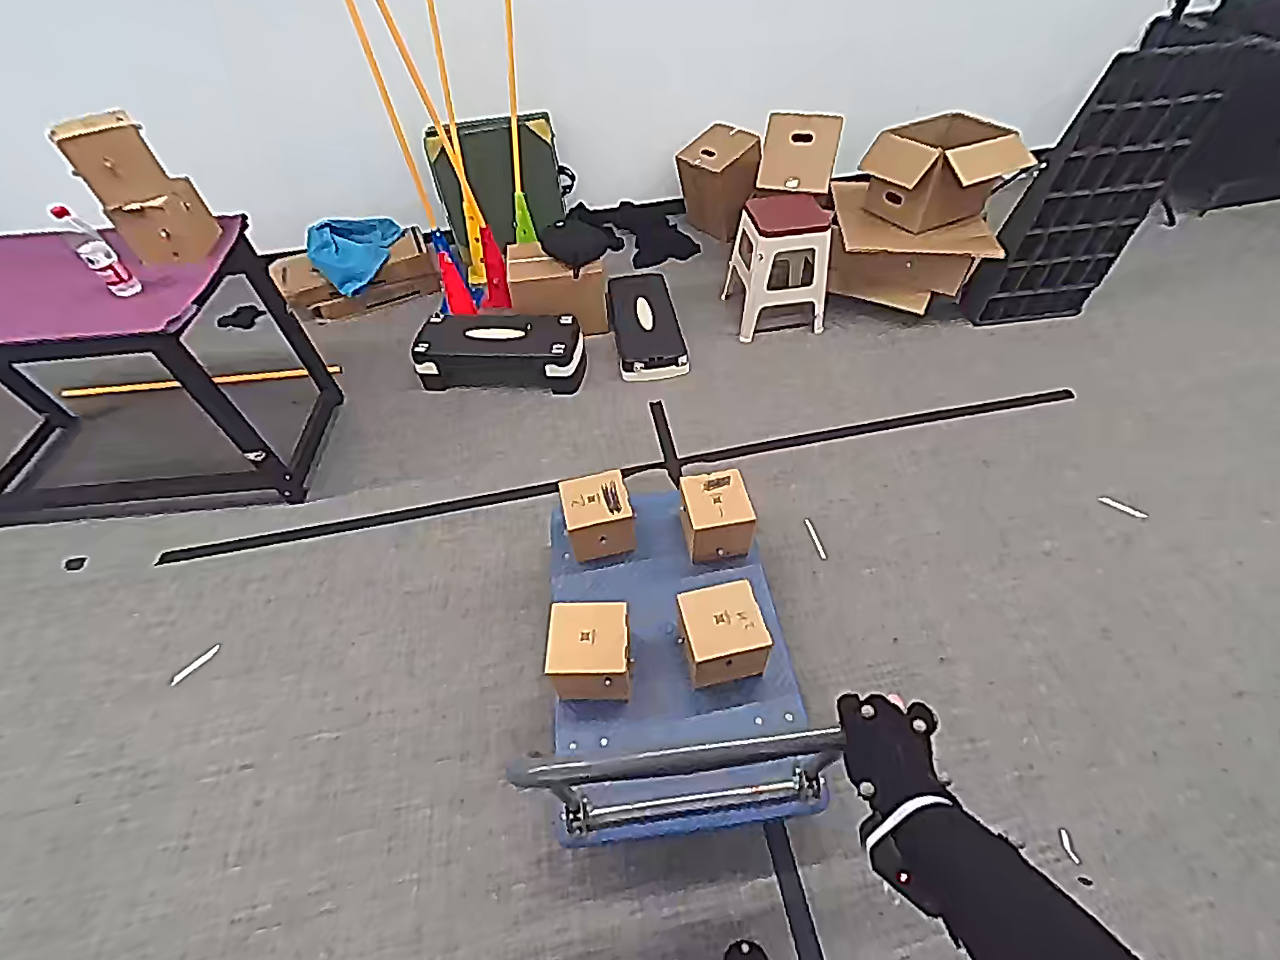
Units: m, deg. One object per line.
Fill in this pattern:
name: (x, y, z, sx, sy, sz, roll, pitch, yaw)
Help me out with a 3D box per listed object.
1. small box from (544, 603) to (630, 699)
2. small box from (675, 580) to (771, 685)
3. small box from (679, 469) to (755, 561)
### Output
small box: (-0.115, 0.398, 1.248, 0.179, 0.176, 0.168, -1, 50, 0)
small box: (0.187, 0.360, 1.260, 0.179, 0.176, 0.168, -11, 51, -6)
small box: (0.201, 0.096, 1.474, 0.168, 0.176, 0.179, -9, 52, -4)
